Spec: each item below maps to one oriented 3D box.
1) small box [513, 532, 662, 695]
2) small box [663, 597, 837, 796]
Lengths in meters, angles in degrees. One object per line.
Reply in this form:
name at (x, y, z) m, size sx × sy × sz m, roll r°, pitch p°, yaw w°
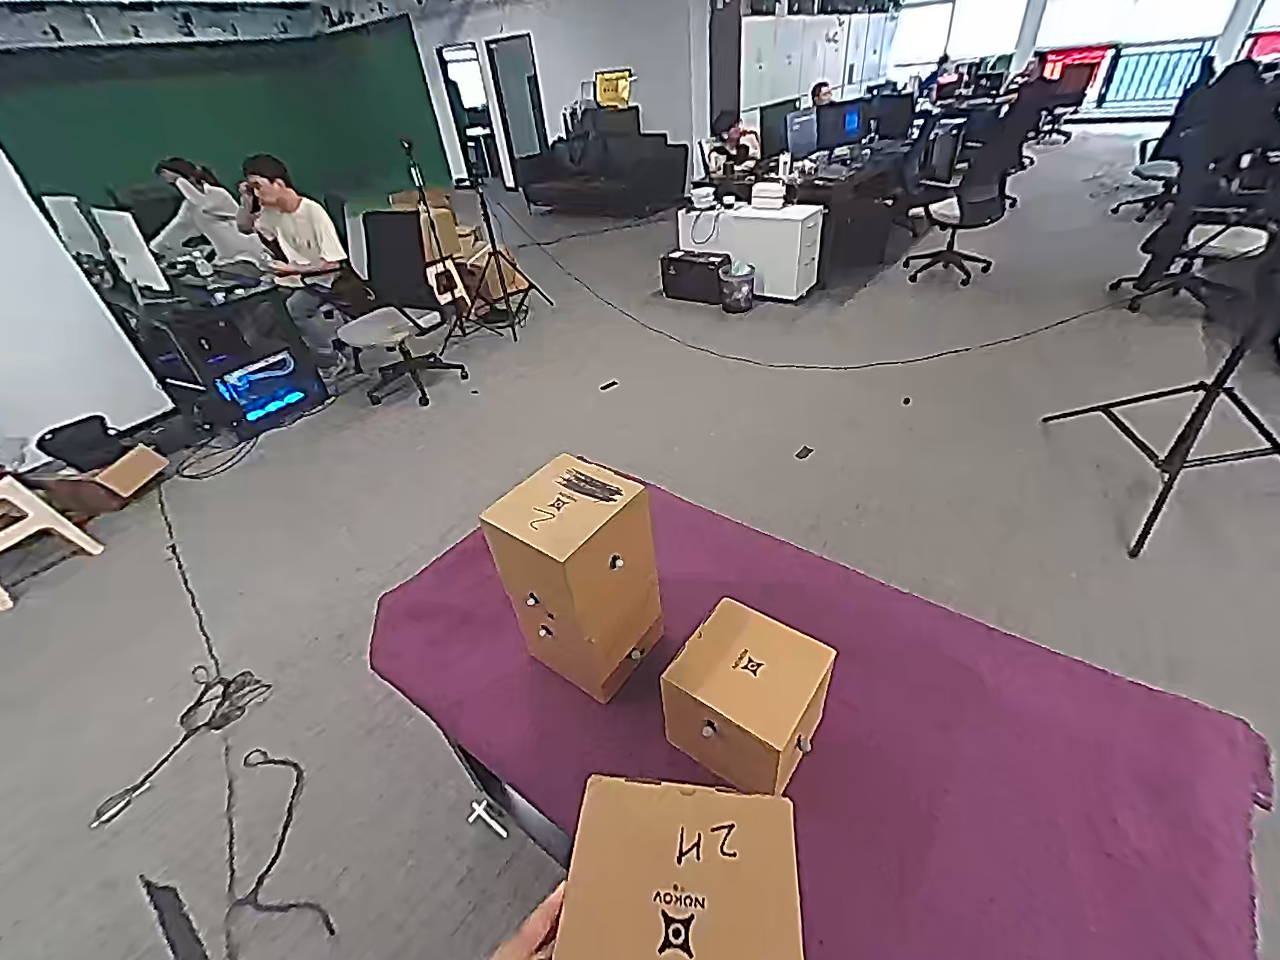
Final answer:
small box at (-0.079, 0.222, 0.903) m, size 0.179 × 0.176 × 0.168 m, roll 21°, pitch 46°, yaw 31°
small box at (0.154, 0.306, 0.762) m, size 0.179 × 0.176 × 0.168 m, roll 21°, pitch 45°, yaw 32°
